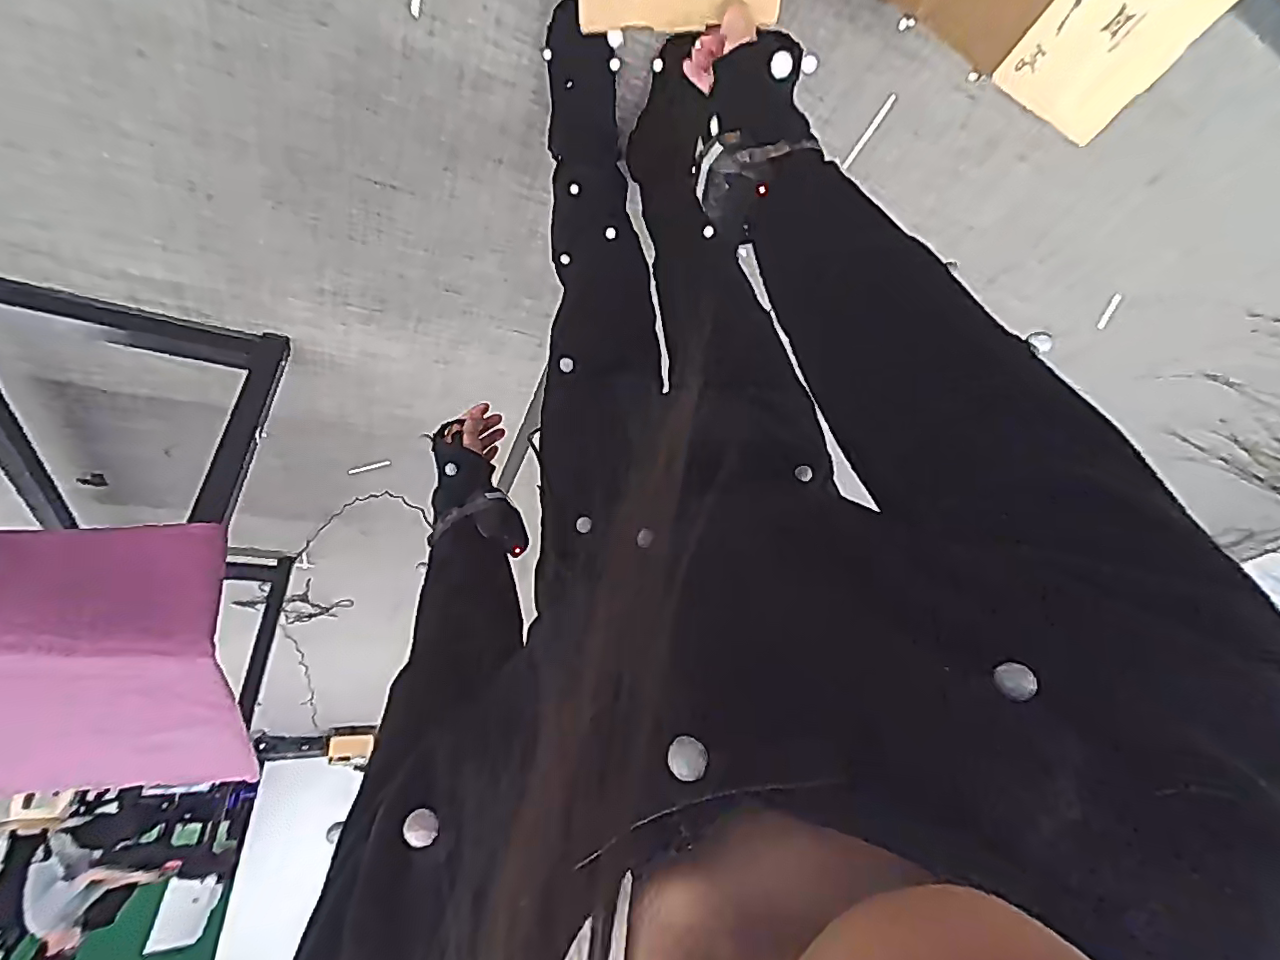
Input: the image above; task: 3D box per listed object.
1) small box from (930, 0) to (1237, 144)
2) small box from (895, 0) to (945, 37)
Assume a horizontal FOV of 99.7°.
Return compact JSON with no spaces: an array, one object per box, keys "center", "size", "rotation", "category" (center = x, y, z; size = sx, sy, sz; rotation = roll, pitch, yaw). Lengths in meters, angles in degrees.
[{"center":[0.446,-0.498,0.555],"size":[0.179,0.176,0.168],"rotation":[8,144,-27],"category":"small box"},{"center":[0.392,-0.766,0.733],"size":[0.179,0.176,0.168],"rotation":[11,141,-28],"category":"small box"}]
